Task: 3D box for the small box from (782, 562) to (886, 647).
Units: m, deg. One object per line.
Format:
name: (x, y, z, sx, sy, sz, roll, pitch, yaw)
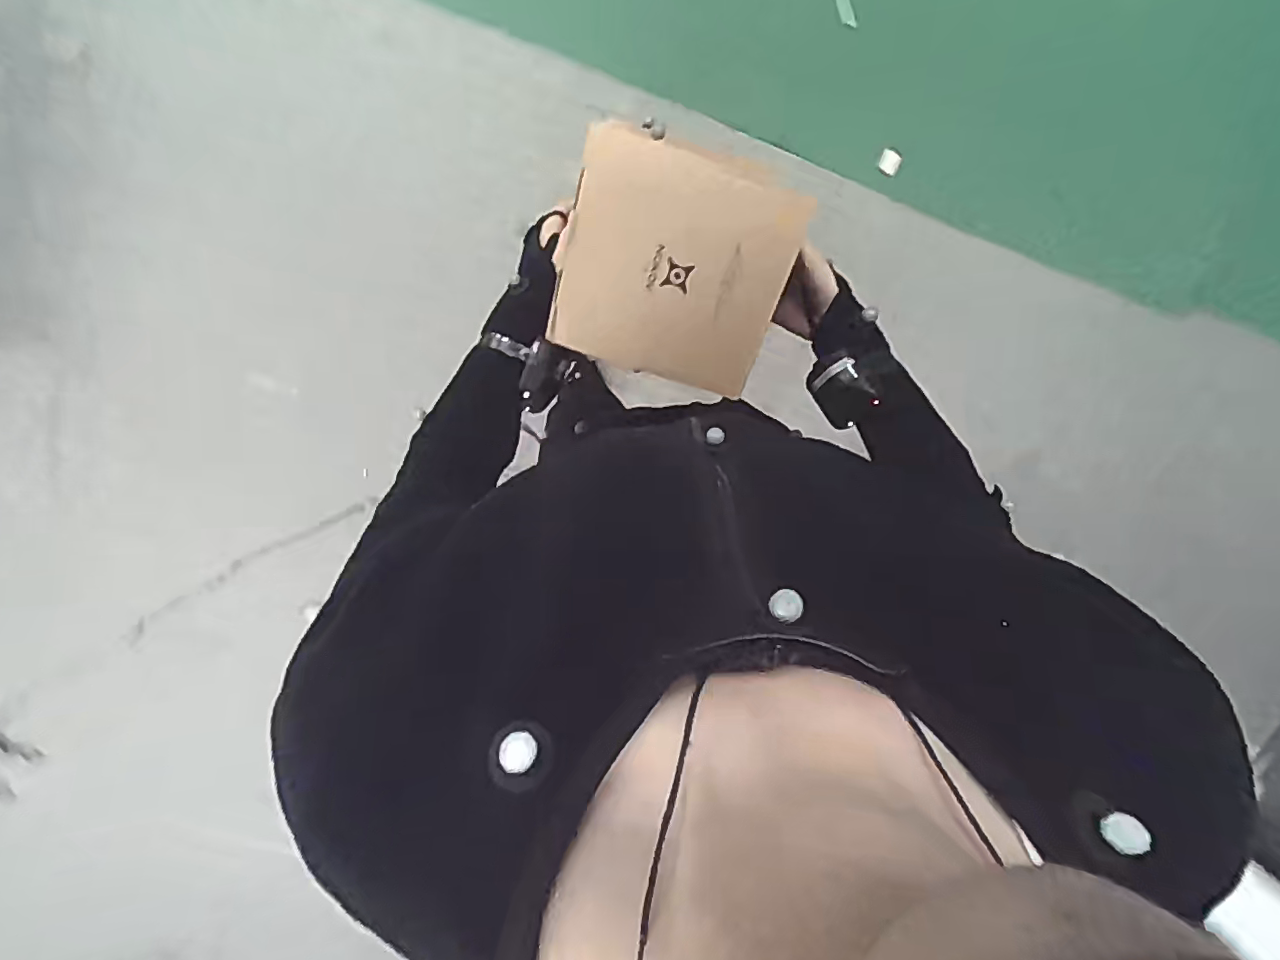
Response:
small box: (0.474, 0.320, 1.338, 0.179, 0.176, 0.168, 19, 103, -4)
